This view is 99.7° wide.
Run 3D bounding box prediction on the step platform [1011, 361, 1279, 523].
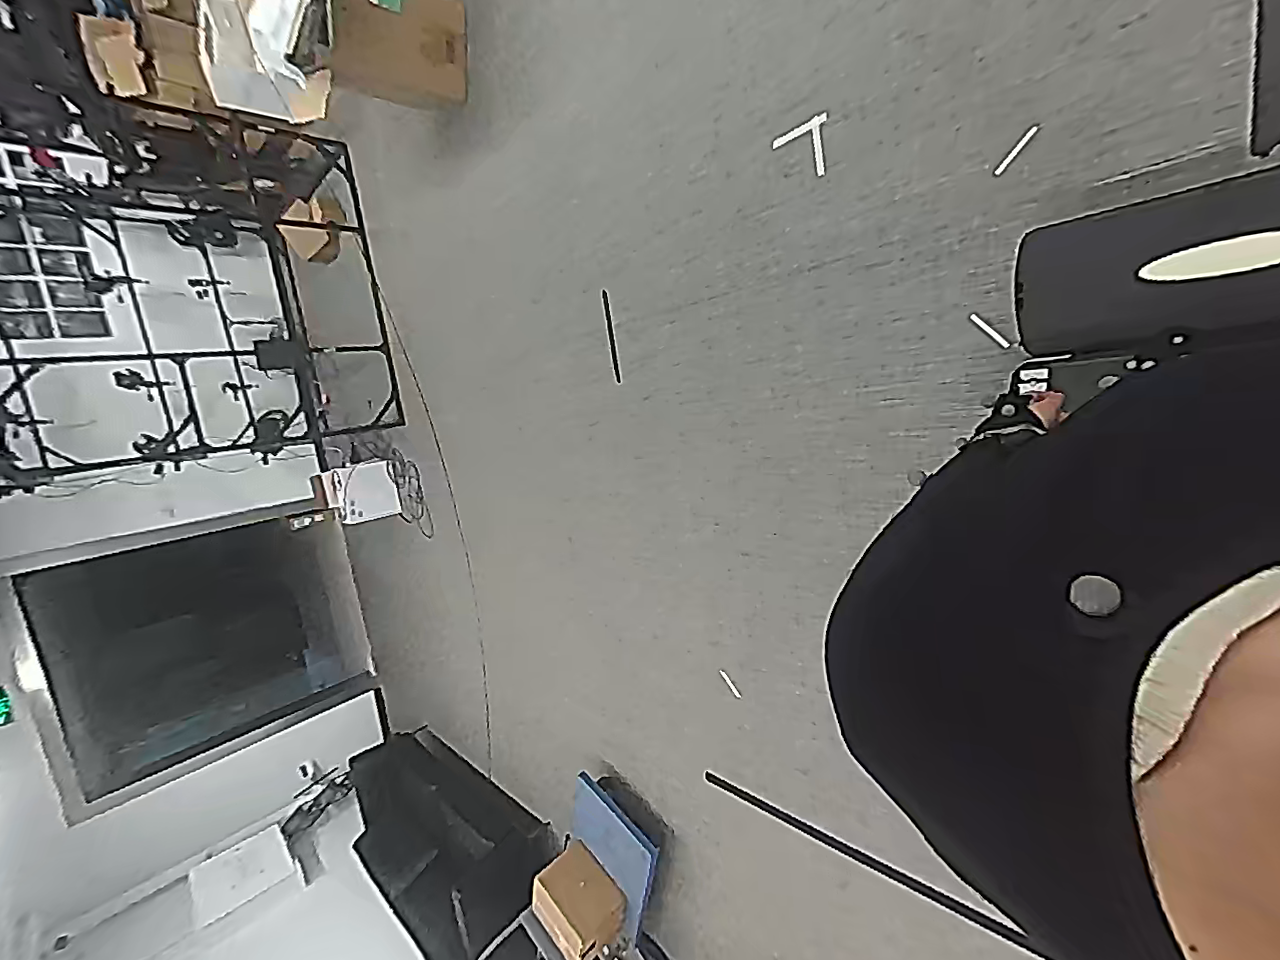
[{"bbox_3d":[1.115,-0.080,1.019,0.684,0.204,0.286,8,106,47],"label":"step platform"}]
